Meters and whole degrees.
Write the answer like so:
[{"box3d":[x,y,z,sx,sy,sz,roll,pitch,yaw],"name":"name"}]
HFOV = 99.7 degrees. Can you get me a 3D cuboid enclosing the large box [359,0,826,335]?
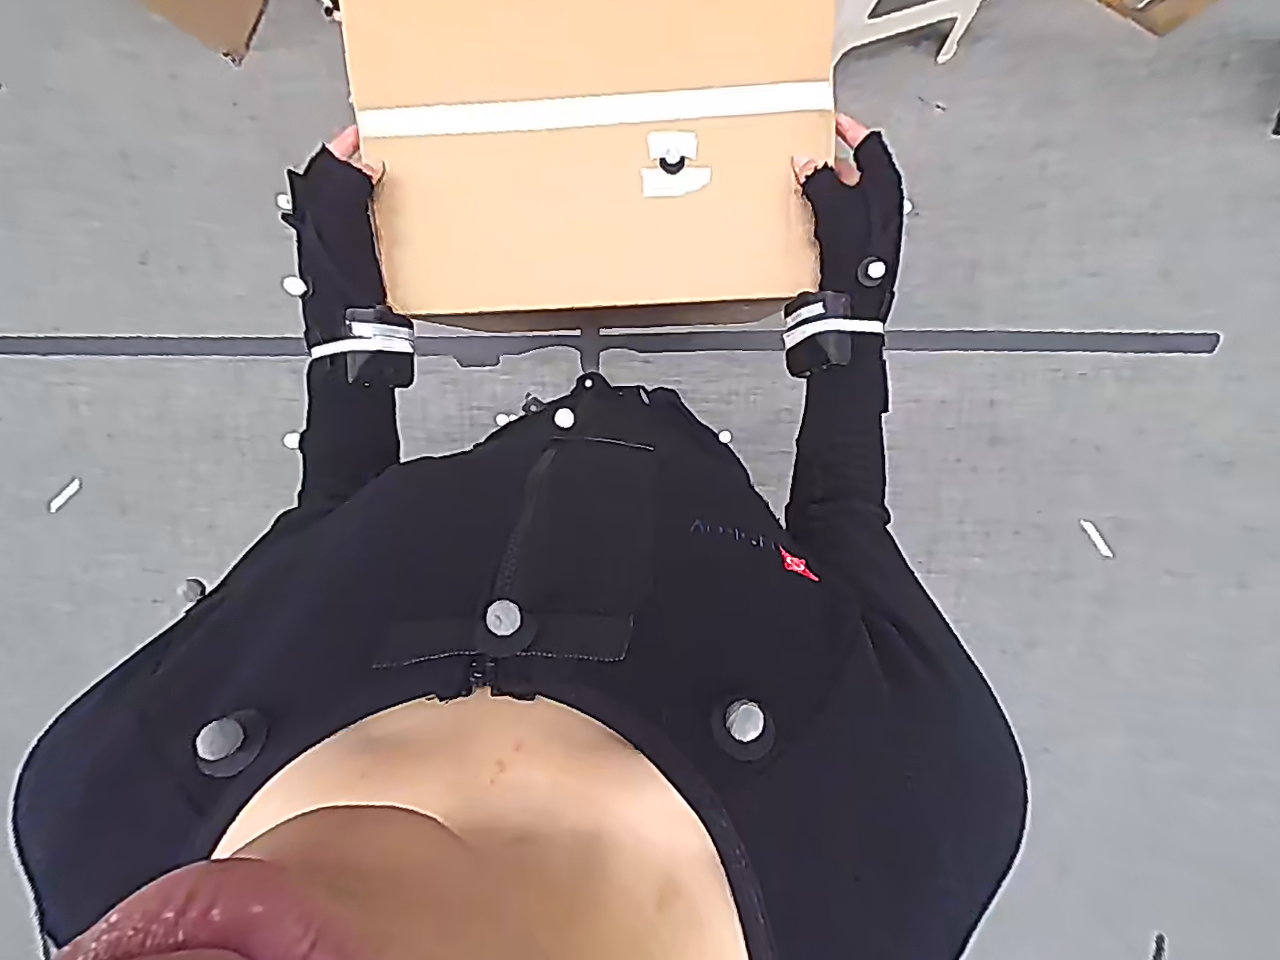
[{"box3d":[-0.037,-0.347,0.621,0.408,0.320,0.320,-2,102,1],"name":"large box"}]
